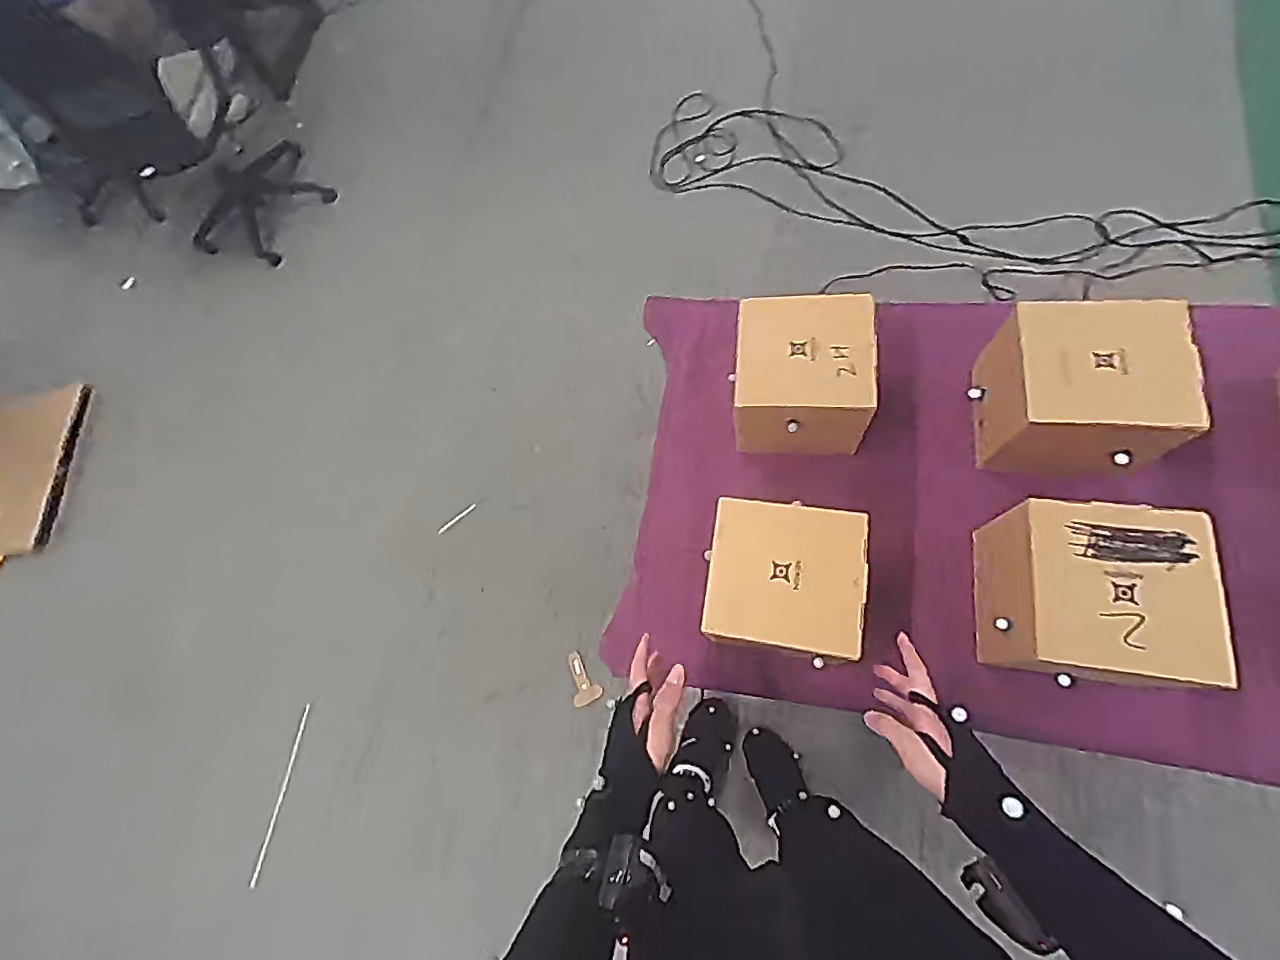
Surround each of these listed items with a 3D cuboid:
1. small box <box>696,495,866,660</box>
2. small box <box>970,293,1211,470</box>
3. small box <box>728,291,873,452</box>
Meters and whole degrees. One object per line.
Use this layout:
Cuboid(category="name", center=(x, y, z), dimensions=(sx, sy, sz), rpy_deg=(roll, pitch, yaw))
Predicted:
Cuboid(category="small box", center=(0.175, 0.130, 0.685), dimensions=(0.179, 0.176, 0.168), rpy_deg=(6, 72, 13))
Cuboid(category="small box", center=(0.549, -0.116, 0.688), dimensions=(0.179, 0.176, 0.168), rpy_deg=(4, 72, 14))
Cuboid(category="small box", center=(0.222, -0.145, 0.766), dimensions=(0.179, 0.176, 0.168), rpy_deg=(2, 73, 13))
